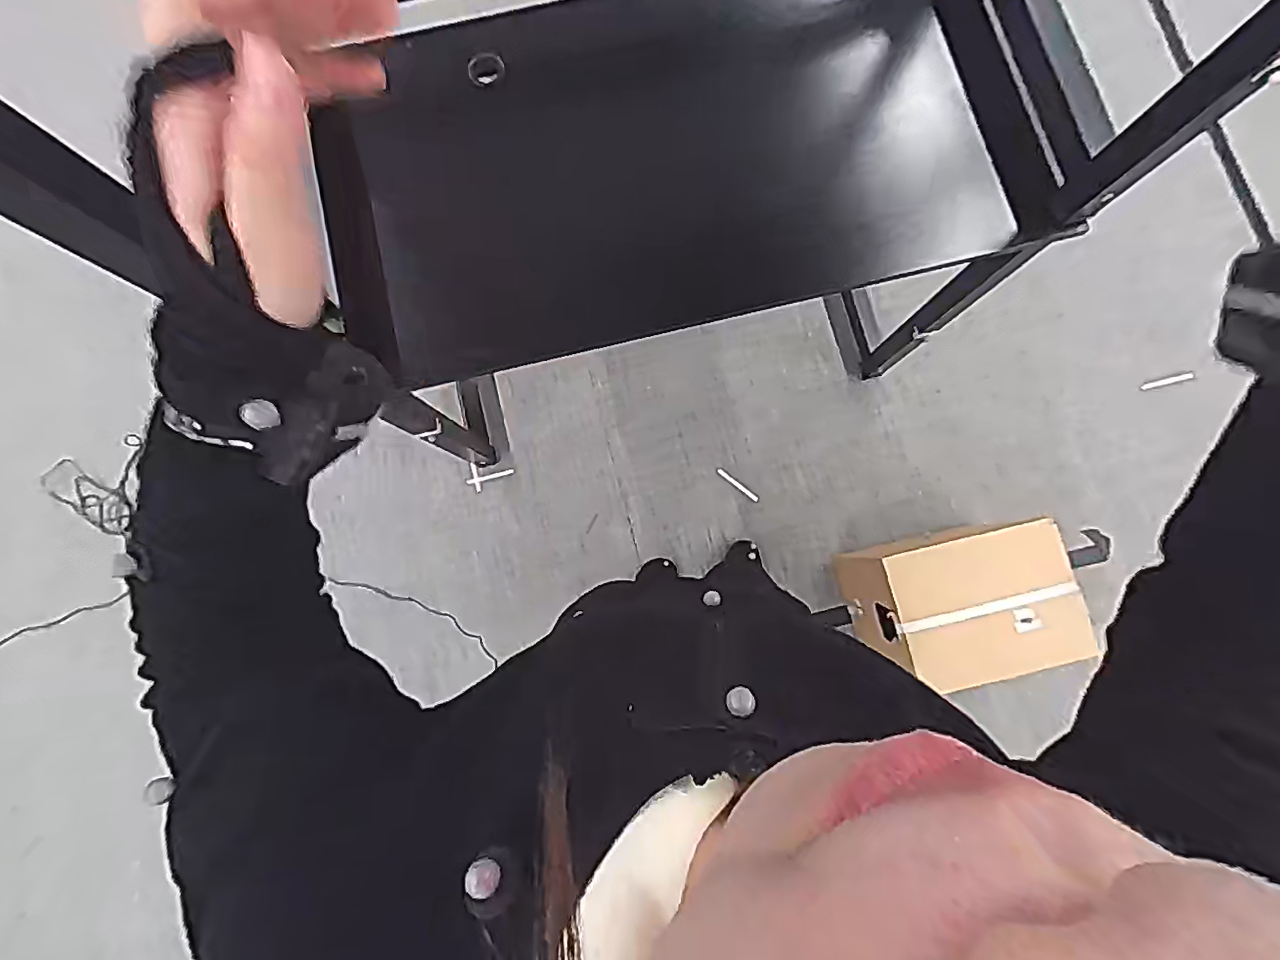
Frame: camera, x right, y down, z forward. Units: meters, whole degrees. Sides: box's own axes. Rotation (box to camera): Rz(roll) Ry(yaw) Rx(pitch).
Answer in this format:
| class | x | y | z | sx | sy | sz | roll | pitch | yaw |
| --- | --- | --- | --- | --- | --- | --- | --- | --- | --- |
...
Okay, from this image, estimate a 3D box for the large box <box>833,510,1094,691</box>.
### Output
| class | x | y | z | sx | sy | sz | roll | pitch | yaw |
| --- | --- | --- | --- | --- | --- | --- | --- | --- | --- |
| large box | 0.757 | 0.281 | 1.331 | 0.408 | 0.320 | 0.320 | -14 | 84 | -2 |
